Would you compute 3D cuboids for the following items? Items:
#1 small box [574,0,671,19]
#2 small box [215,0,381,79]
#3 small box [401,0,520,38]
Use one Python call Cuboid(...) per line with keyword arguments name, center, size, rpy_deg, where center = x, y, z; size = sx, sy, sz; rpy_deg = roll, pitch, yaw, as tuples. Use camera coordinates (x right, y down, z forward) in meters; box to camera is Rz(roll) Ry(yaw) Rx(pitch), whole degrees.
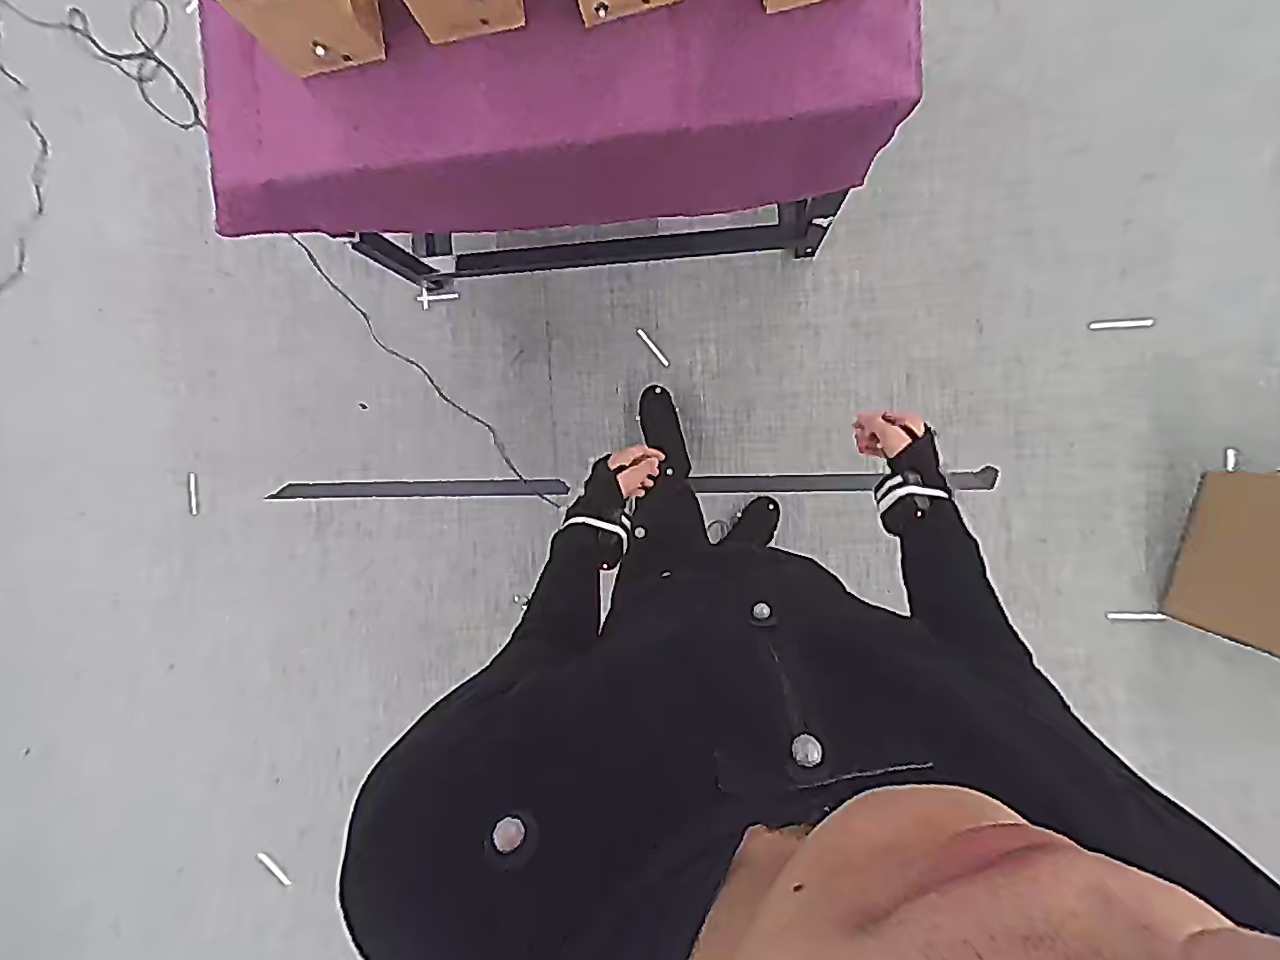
Cuboid(name="small box", center=(-0.041, -0.828, 0.789), size=(0.168, 0.176, 0.179), rpy_deg=(-11, 91, 7))
Cuboid(name="small box", center=(-0.538, -0.789, 0.853), size=(0.168, 0.176, 0.179), rpy_deg=(-6, 92, 8))
Cuboid(name="small box", center=(-0.291, -0.820, 0.823), size=(0.168, 0.176, 0.179), rpy_deg=(-5, 92, 7))
